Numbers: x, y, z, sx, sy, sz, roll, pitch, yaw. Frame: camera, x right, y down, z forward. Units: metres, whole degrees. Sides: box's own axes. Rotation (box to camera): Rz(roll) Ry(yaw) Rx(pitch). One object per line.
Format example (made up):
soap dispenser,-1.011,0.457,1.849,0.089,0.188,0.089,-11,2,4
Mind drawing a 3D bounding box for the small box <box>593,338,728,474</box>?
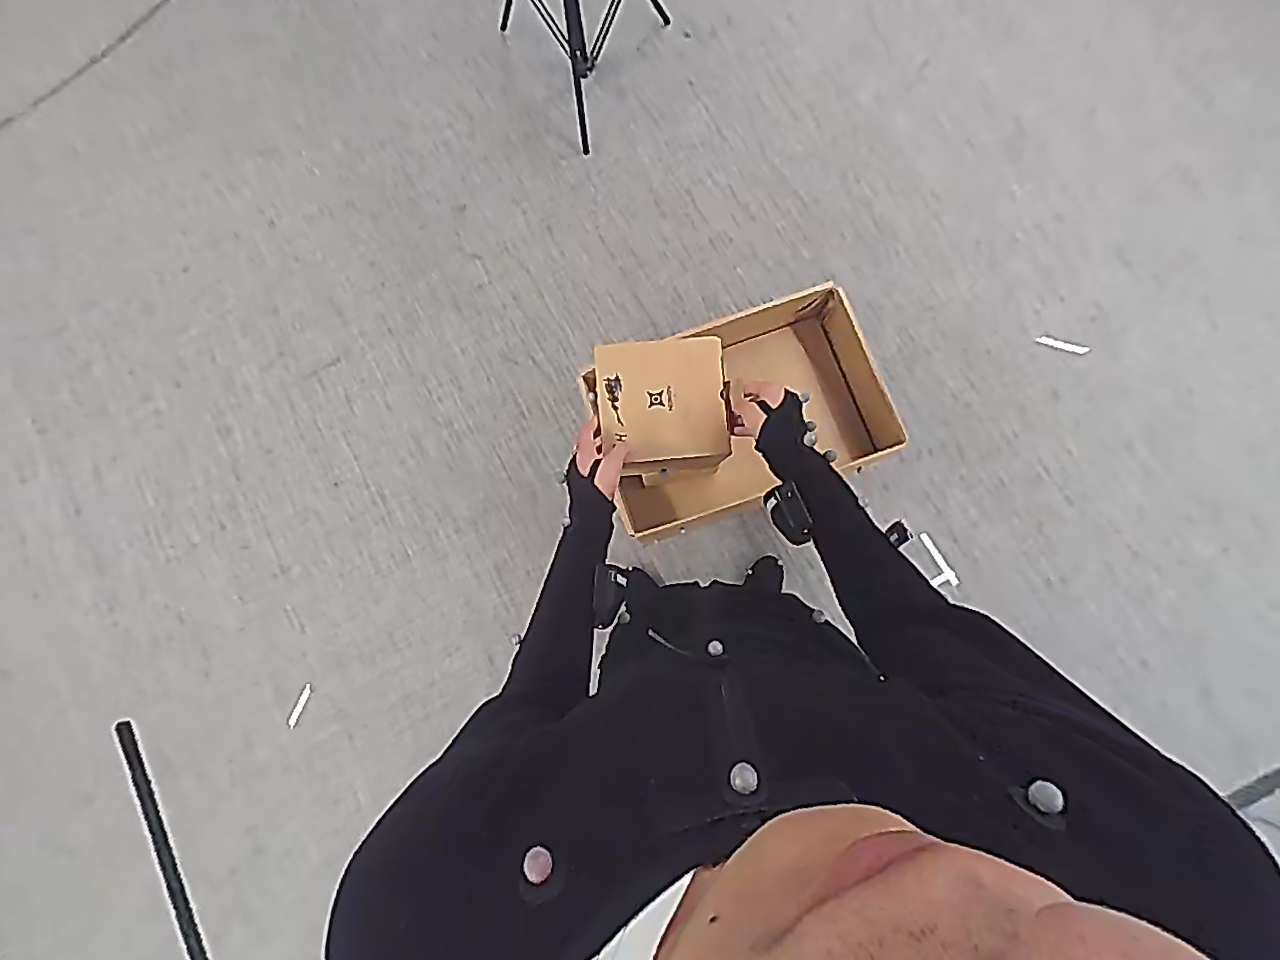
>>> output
small box,0.024,-0.102,0.806,0.179,0.176,0.168,-4,85,-2
